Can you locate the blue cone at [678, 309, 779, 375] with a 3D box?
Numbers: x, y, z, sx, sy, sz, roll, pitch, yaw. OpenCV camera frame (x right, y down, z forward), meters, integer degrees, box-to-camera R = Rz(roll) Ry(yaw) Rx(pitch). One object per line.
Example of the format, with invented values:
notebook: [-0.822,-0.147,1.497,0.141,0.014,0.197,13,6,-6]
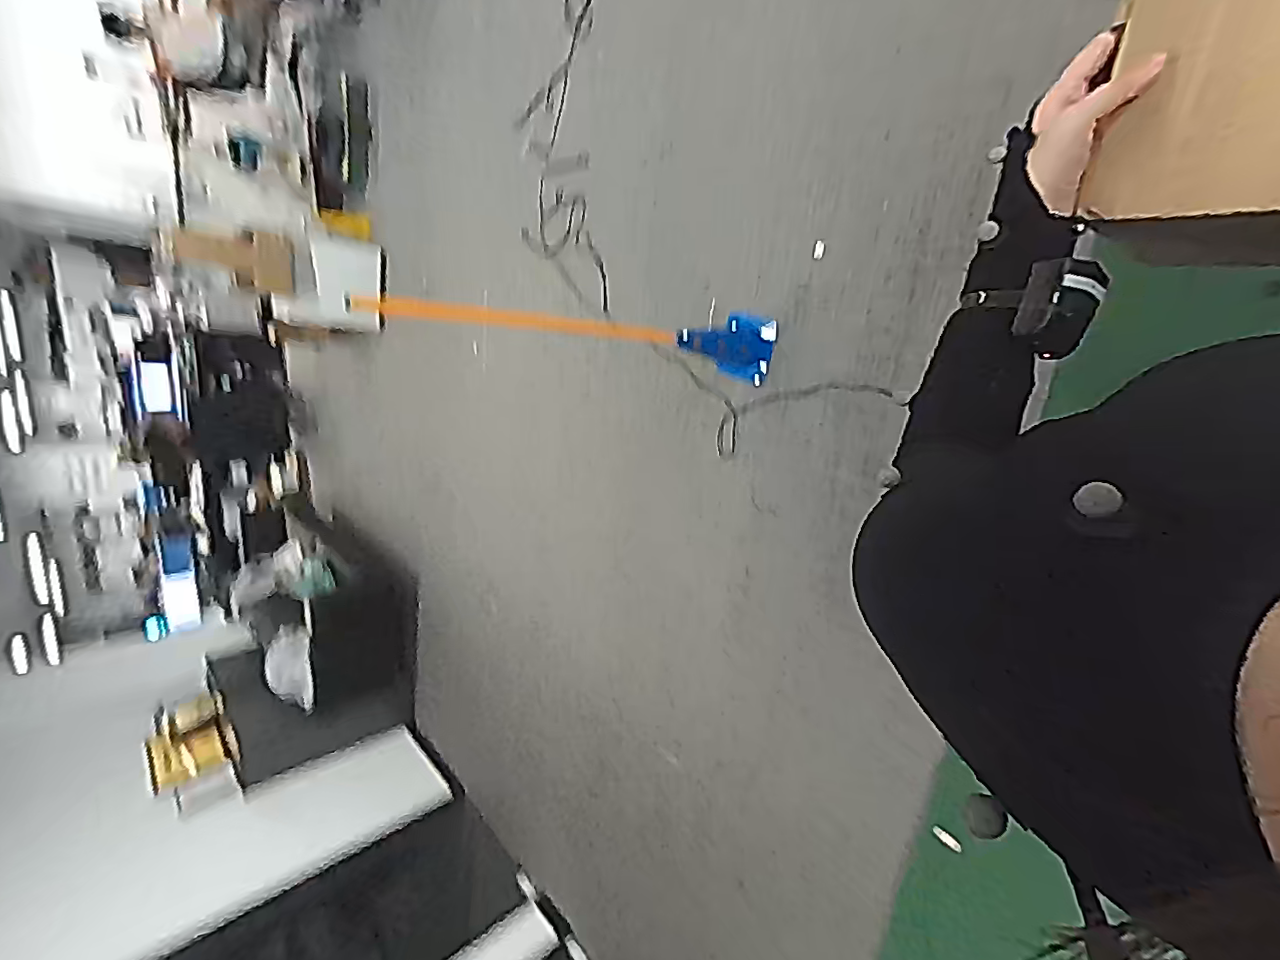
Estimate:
blue cone: [0.240,-0.435,1.646,0.192,0.380,0.193,31,117,37]

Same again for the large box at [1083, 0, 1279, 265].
large box: [0.585,-0.326,0.337,0.408,0.320,0.320,19,113,44]
